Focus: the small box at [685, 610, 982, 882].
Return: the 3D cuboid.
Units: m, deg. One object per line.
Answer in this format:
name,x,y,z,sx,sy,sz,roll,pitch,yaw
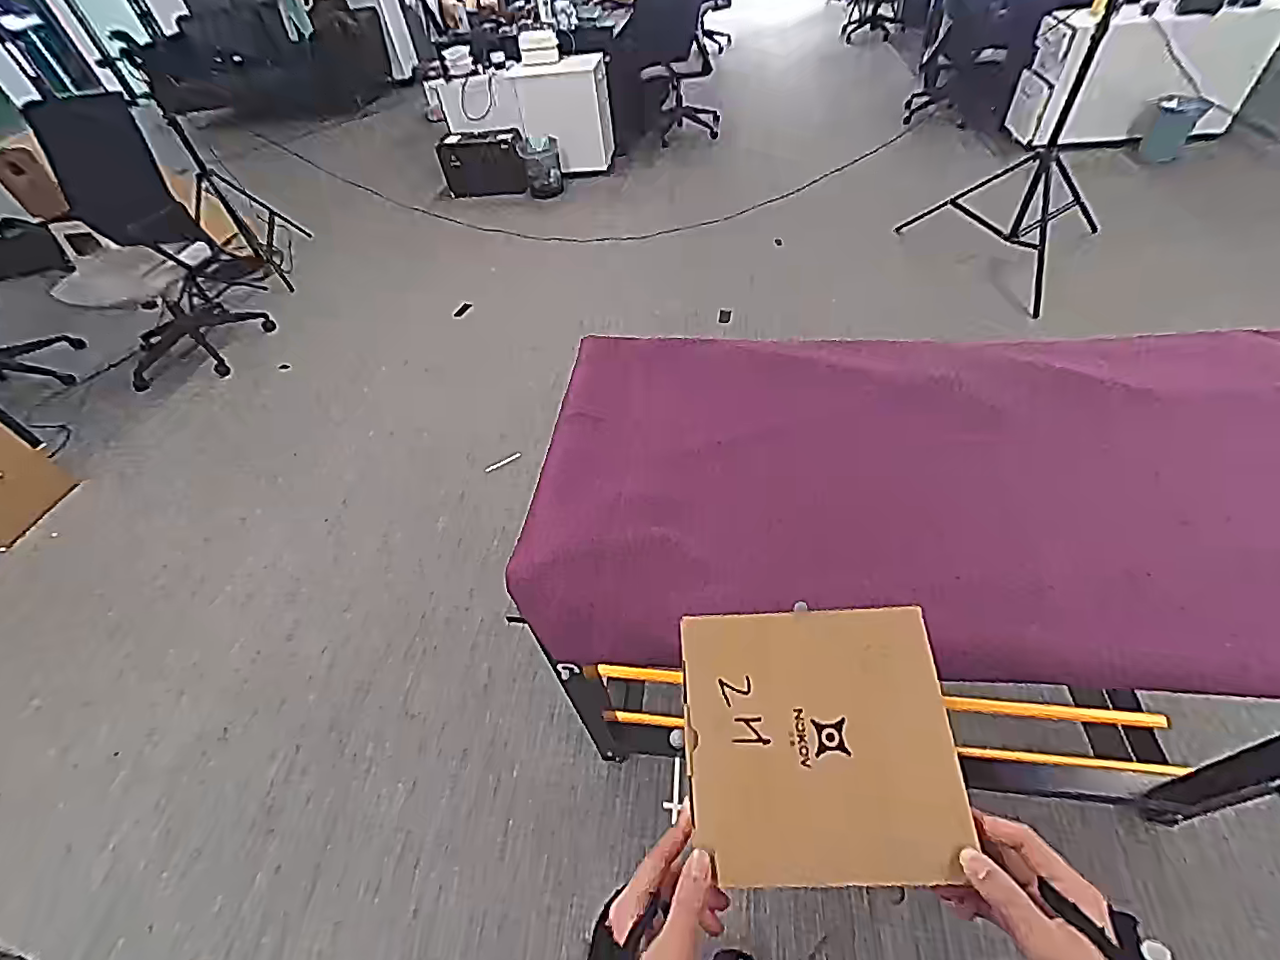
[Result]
small box,0.127,0.205,0.436,0.179,0.176,0.168,-4,64,5
